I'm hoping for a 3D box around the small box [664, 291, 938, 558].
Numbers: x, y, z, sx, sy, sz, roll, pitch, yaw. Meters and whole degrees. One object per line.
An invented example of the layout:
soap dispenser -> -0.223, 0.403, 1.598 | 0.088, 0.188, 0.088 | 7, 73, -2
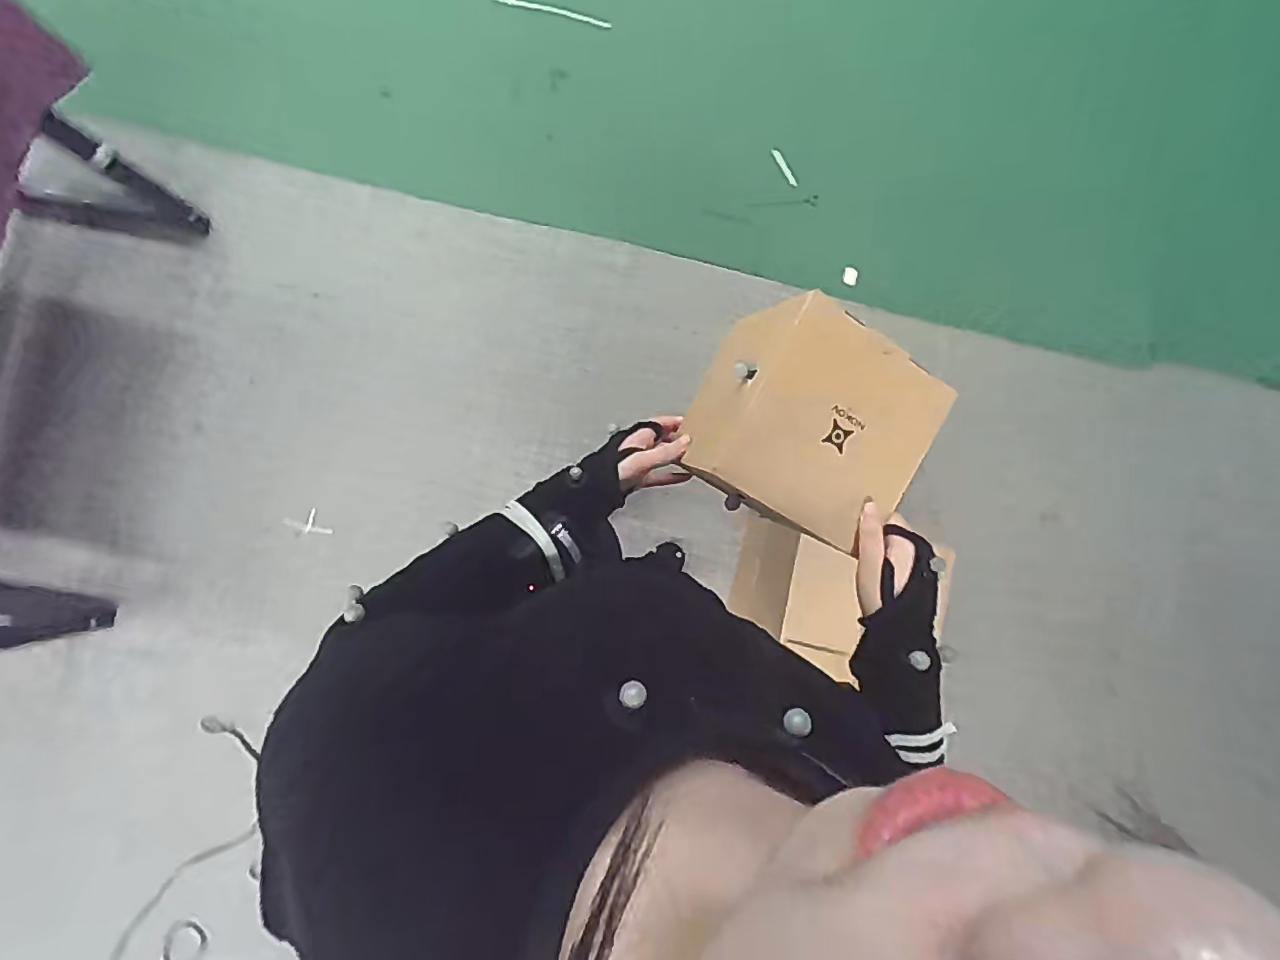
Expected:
small box -> 0.140, -0.051, 0.538 | 0.168, 0.176, 0.179 | 29, 90, -15
